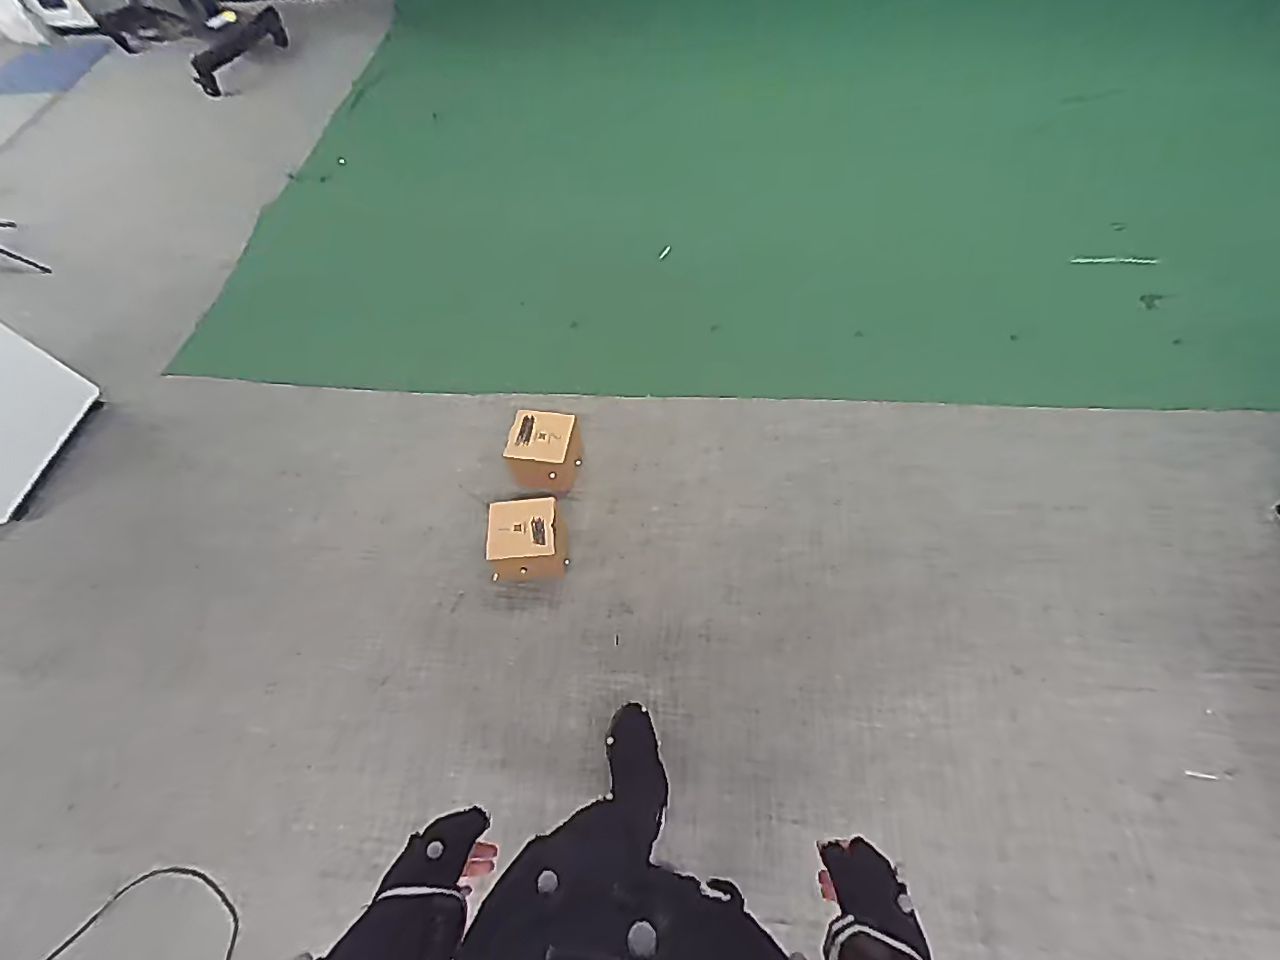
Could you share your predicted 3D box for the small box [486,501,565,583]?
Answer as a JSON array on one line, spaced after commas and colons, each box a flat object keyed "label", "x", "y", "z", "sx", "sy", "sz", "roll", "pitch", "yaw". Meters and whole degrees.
[{"label": "small box", "x": -0.299, "y": 0.170, "z": 1.458, "sx": 0.179, "sy": 0.176, "sz": 0.168, "roll": -6, "pitch": 60, "yaw": 2}]
